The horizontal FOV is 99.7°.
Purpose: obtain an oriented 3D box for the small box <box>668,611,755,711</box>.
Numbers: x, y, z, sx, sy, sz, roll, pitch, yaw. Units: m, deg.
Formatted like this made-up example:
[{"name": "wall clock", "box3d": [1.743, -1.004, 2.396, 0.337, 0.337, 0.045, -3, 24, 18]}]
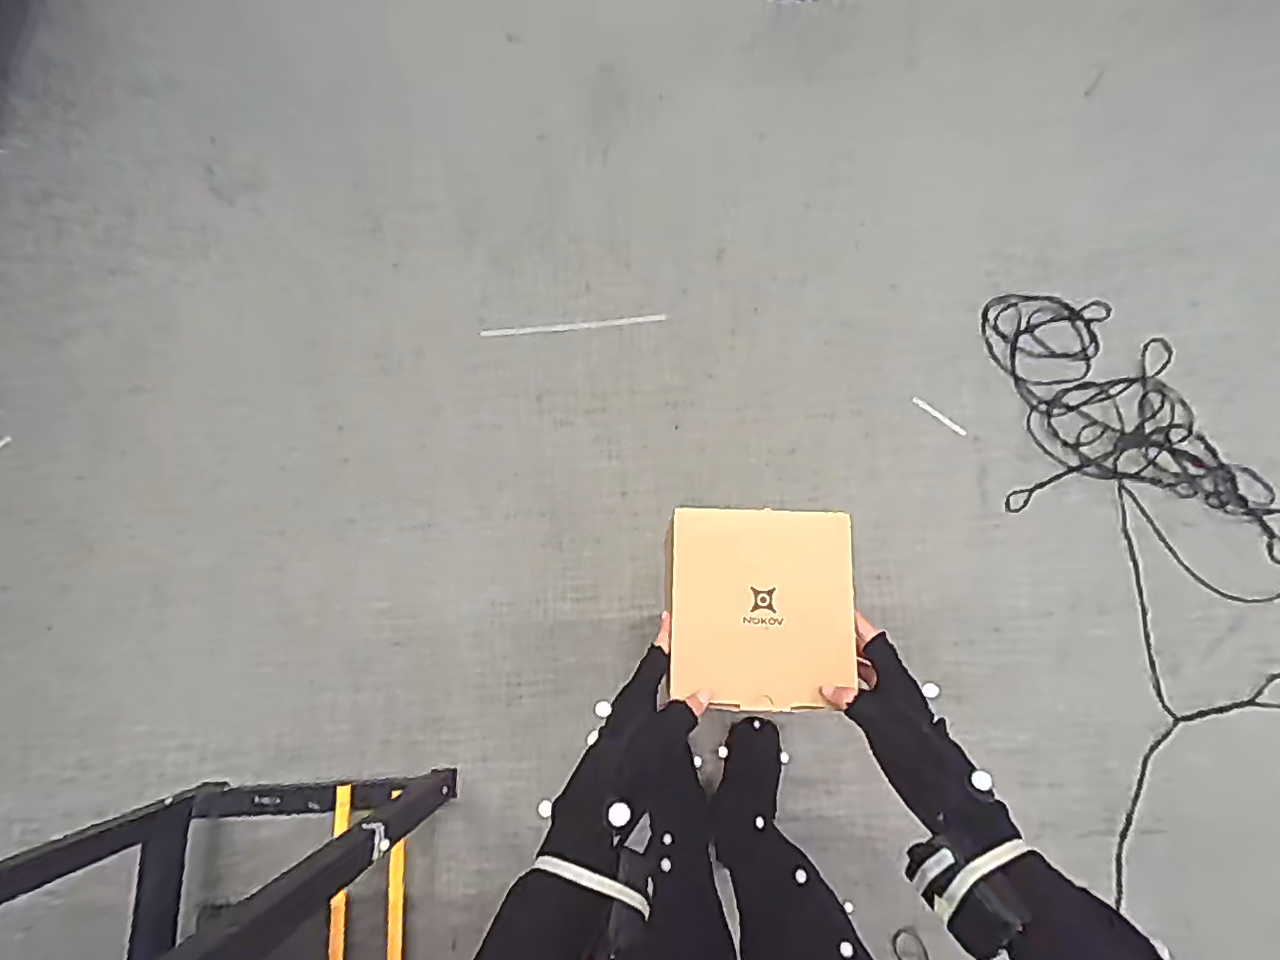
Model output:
[{"name": "small box", "box3d": [0.145, 0.364, 1.116, 0.168, 0.176, 0.179, 1, 77, 5]}]
